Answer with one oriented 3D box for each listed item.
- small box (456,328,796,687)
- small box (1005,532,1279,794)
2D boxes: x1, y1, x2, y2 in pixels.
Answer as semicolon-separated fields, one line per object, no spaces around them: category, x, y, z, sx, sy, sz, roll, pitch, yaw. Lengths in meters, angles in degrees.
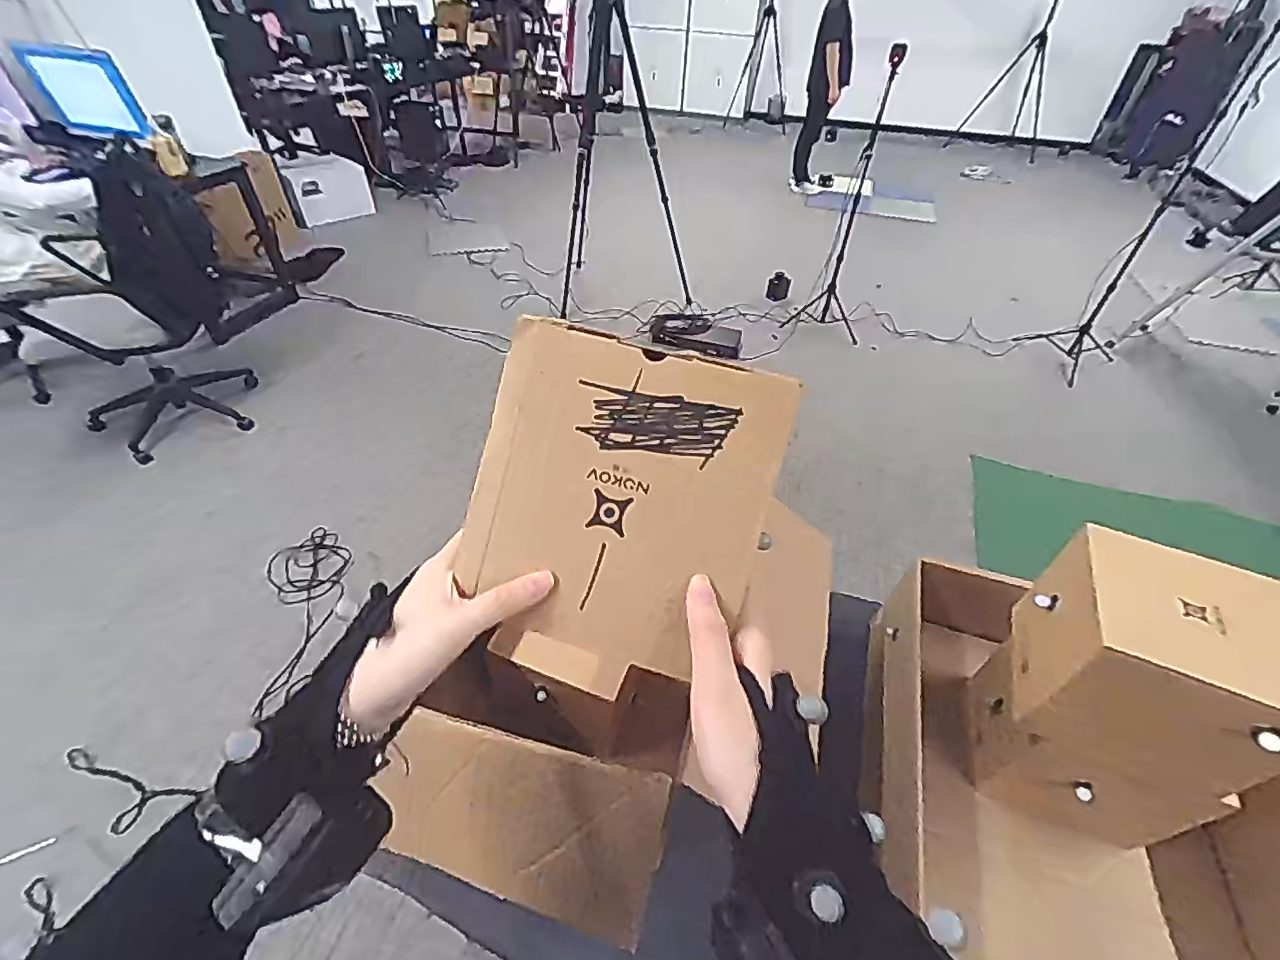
small box;-0.002;0.014;0.395;0.168;0.179;0.176;16;2;8
small box;0.510;0.190;0.562;0.179;0.176;0.168;21;47;17
